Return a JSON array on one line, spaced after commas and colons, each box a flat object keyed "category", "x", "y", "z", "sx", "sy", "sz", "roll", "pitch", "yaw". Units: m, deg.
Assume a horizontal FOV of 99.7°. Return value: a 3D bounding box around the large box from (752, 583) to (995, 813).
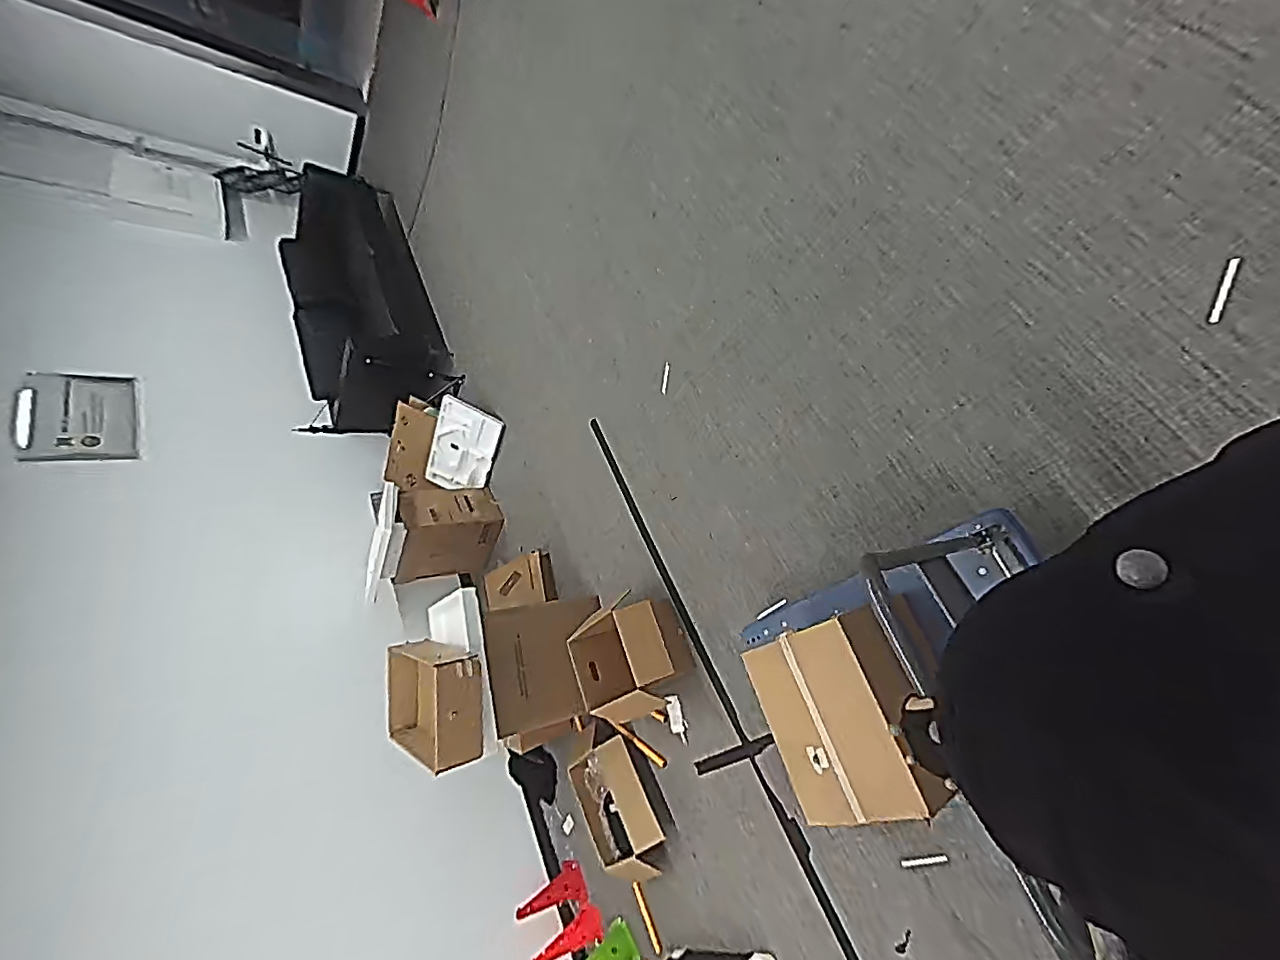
[{"category": "large box", "x": 0.546, "y": 0.508, "z": 1.297, "sx": 0.320, "sy": 0.320, "sz": 0.408, "roll": -42, "pitch": 62, "yaw": 44}]
